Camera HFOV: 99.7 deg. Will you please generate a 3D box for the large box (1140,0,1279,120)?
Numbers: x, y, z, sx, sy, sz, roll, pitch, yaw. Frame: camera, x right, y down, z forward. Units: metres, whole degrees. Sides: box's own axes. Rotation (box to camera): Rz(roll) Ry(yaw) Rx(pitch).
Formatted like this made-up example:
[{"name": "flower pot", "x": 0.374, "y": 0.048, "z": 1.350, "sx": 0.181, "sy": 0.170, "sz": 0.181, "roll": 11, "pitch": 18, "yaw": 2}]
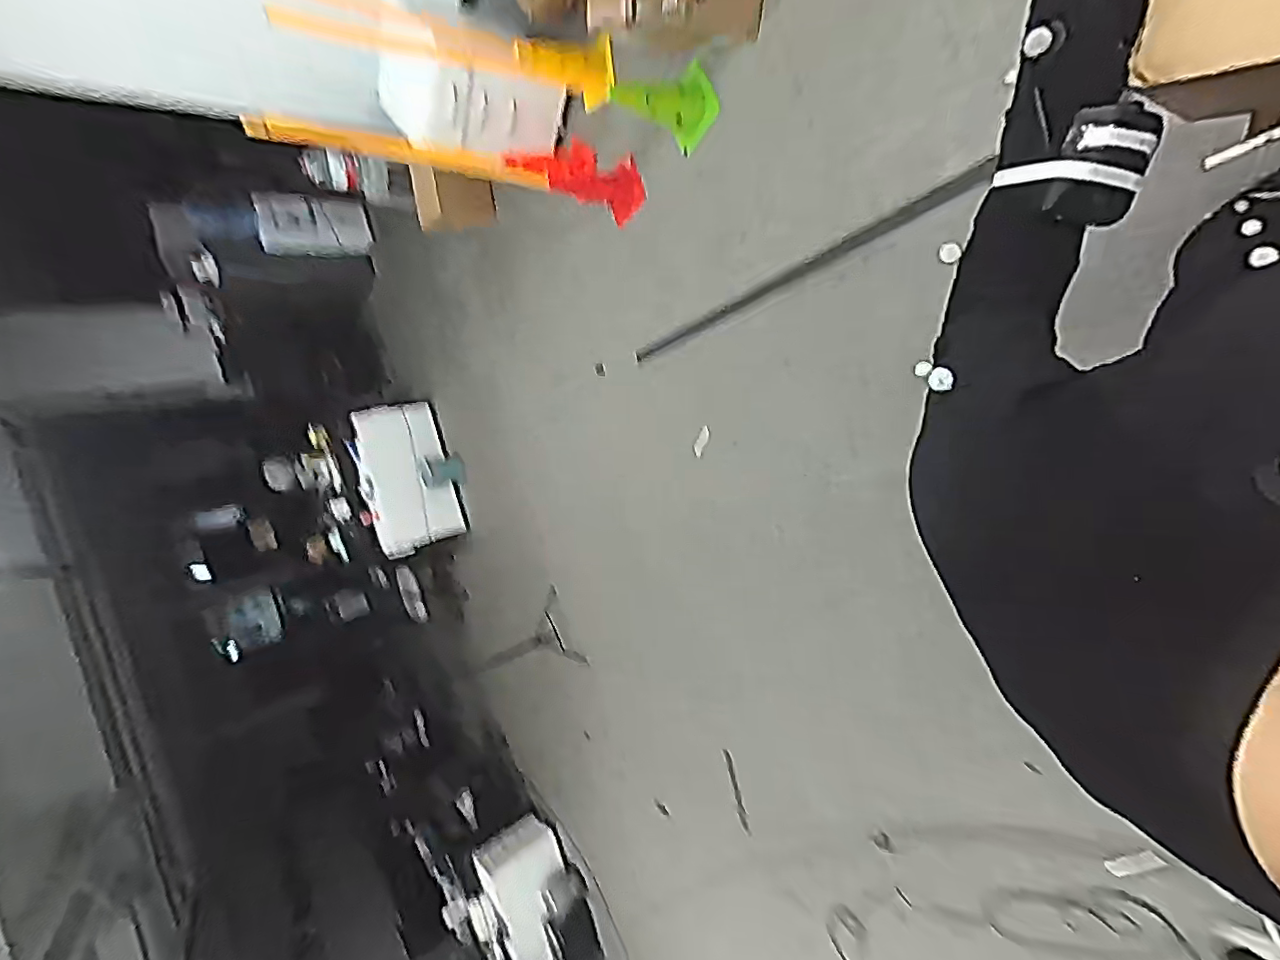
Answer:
[{"name": "large box", "x": 0.561, "y": -0.414, "z": 0.262, "sx": 0.408, "sy": 0.320, "sz": 0.320, "roll": 18, "pitch": 122, "yaw": 44}]
